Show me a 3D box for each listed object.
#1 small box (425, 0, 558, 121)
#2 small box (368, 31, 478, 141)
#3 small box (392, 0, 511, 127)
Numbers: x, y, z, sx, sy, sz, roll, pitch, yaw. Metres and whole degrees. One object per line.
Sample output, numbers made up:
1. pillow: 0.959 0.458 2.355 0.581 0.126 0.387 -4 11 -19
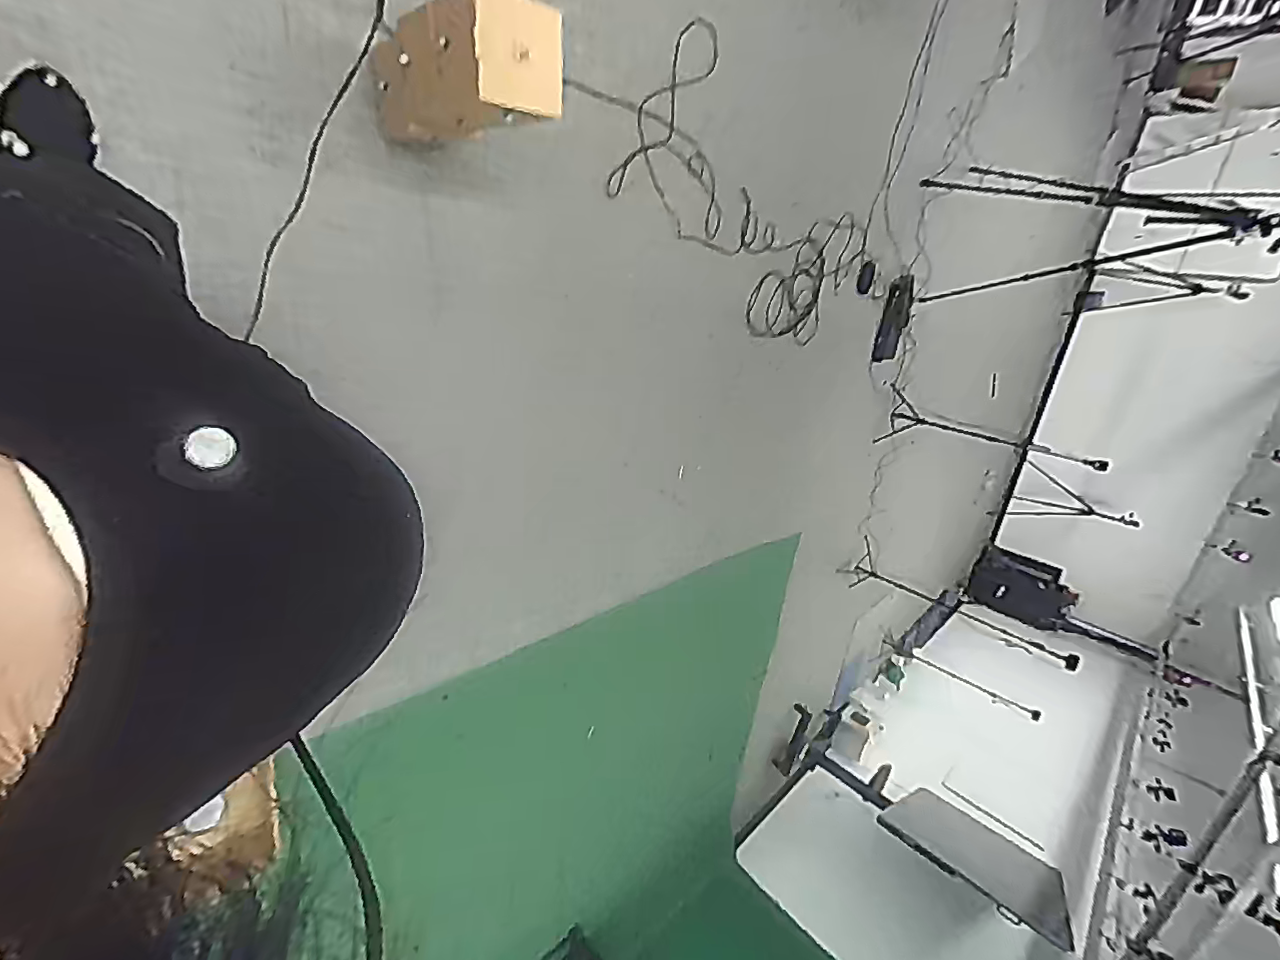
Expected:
1. small box: -0.268 -0.773 0.989 0.179 0.176 0.168 -18 121 -40
2. small box: -0.489 -0.868 1.211 0.179 0.176 0.168 -22 124 -40
3. small box: -0.377 -0.832 1.096 0.179 0.176 0.168 -17 120 -40
